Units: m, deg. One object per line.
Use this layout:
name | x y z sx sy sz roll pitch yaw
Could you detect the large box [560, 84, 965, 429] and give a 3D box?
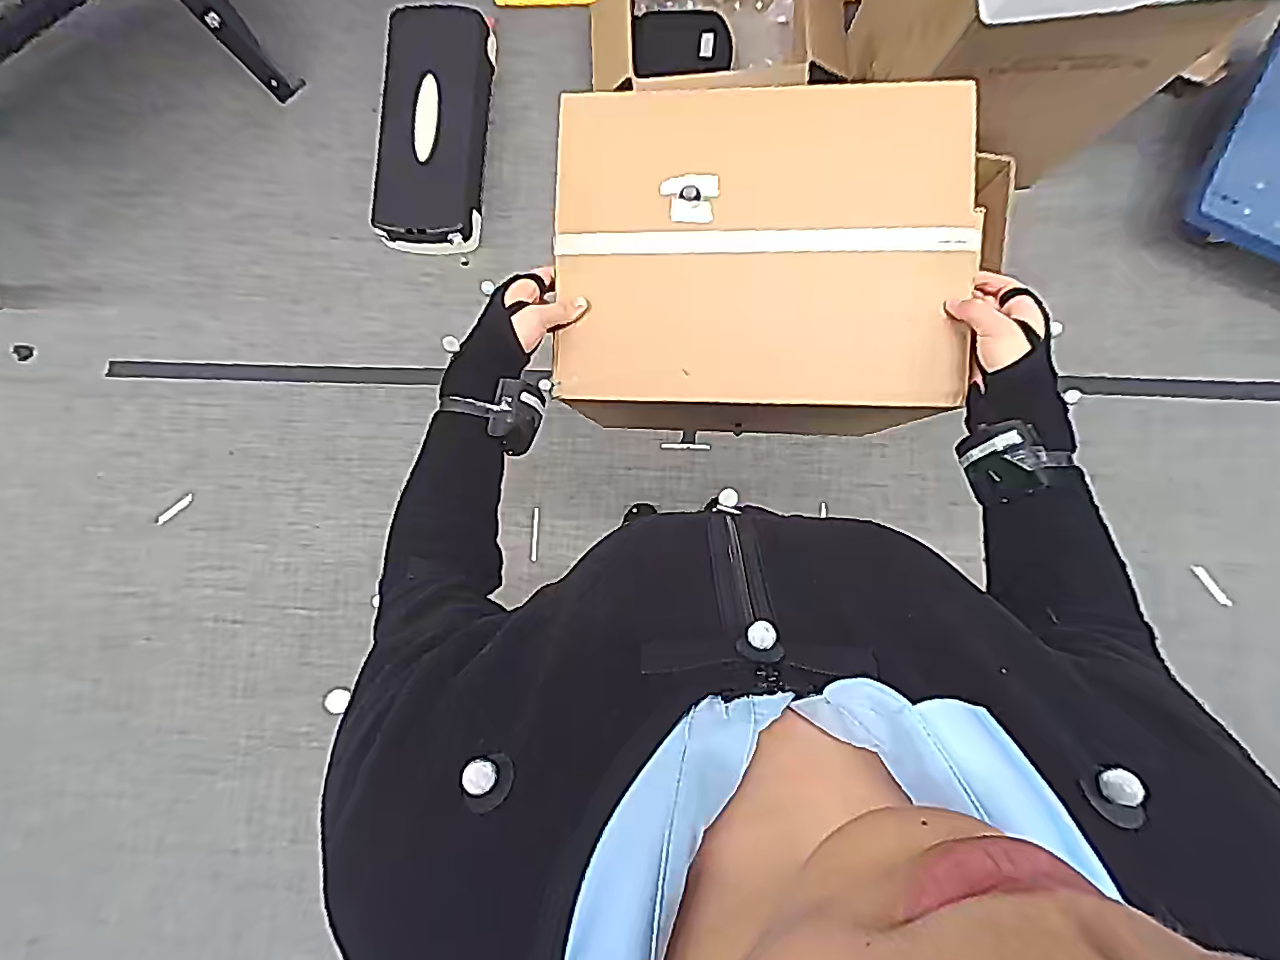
large box | 0.134 -0.232 0.691 0.408 0.320 0.320 2 88 7
